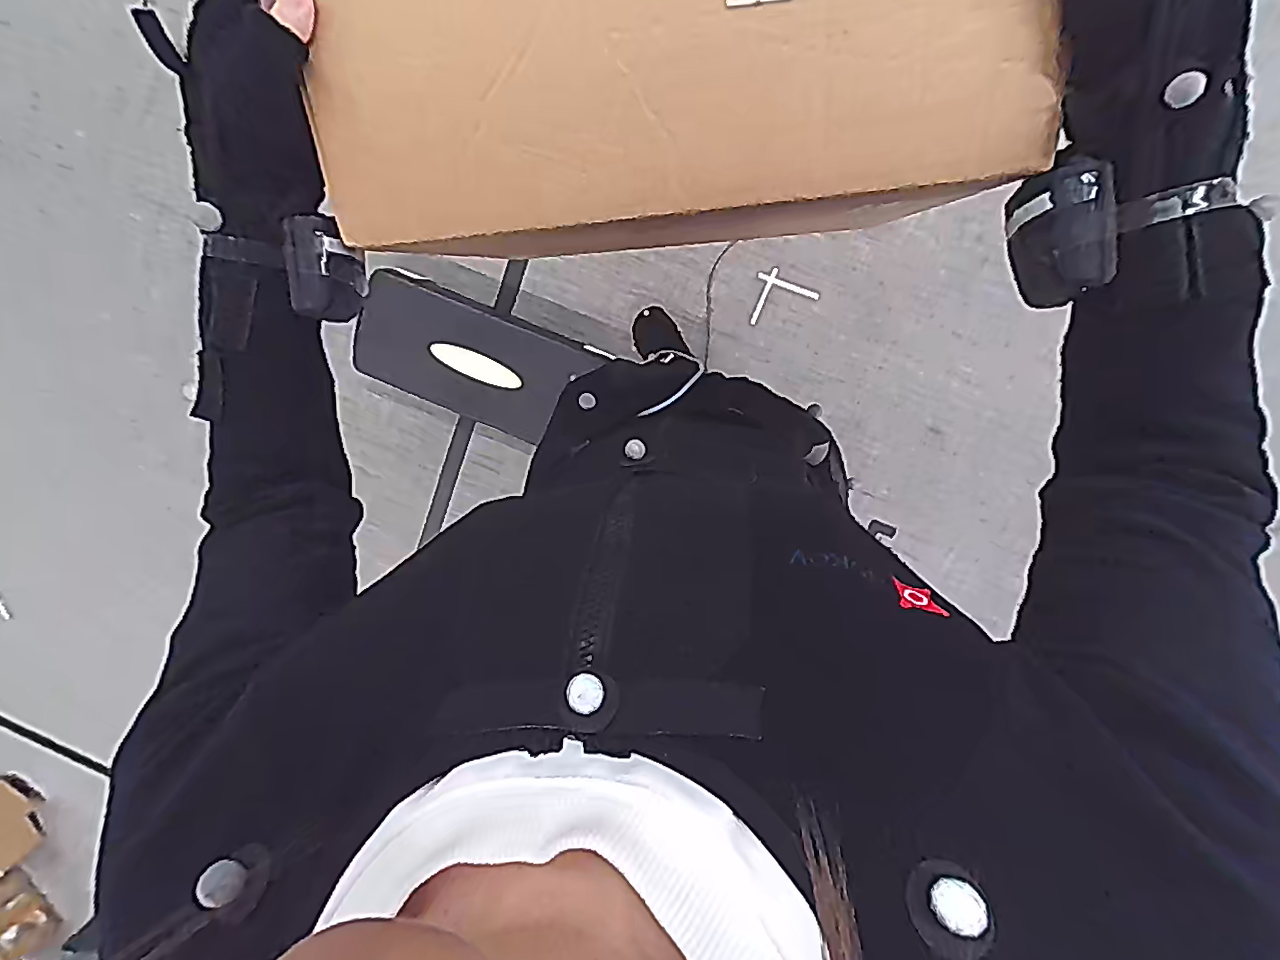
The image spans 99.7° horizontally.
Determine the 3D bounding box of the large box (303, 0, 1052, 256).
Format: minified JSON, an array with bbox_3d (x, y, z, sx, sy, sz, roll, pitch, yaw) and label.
[{"bbox_3d":[0.019,-0.363,0.408,0.408,0.320,0.320,-3,111,9],"label":"large box"}]
